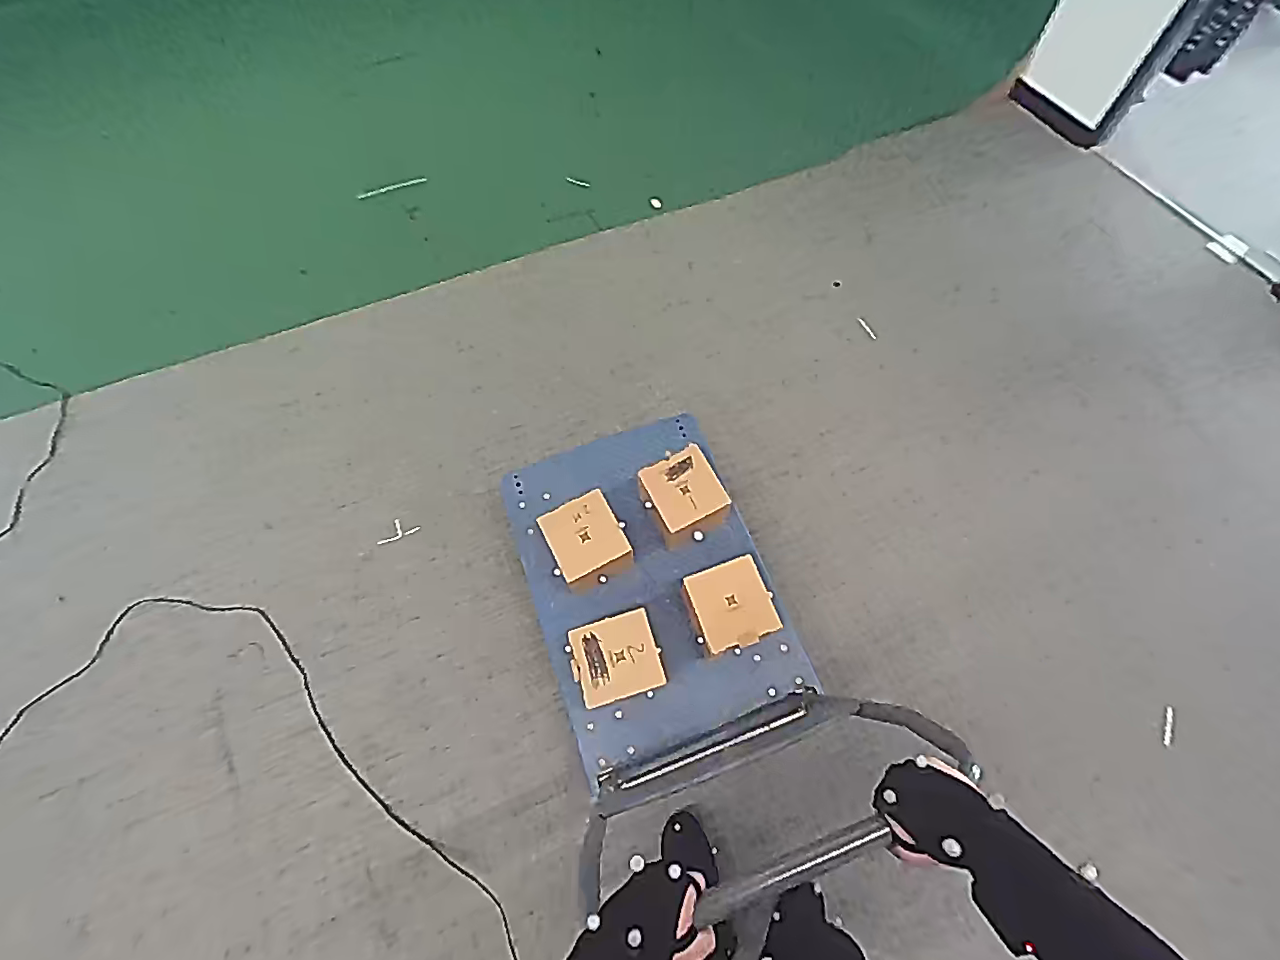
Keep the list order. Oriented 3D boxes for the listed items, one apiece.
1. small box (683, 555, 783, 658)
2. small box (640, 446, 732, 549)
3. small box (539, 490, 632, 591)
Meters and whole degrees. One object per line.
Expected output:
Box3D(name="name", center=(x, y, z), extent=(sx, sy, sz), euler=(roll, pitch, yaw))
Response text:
Box3D(name="small box", center=(0.204, 0.298, 1.254), extent=(0.168, 0.176, 0.179), euler=(-19, 69, -6))
Box3D(name="small box", center=(0.108, 0.049, 1.358), extent=(0.168, 0.176, 0.179), euler=(-26, 70, -8))
Box3D(name="small box", center=(-0.126, 0.157, 1.319), extent=(0.168, 0.176, 0.179), euler=(-26, 69, -10))
